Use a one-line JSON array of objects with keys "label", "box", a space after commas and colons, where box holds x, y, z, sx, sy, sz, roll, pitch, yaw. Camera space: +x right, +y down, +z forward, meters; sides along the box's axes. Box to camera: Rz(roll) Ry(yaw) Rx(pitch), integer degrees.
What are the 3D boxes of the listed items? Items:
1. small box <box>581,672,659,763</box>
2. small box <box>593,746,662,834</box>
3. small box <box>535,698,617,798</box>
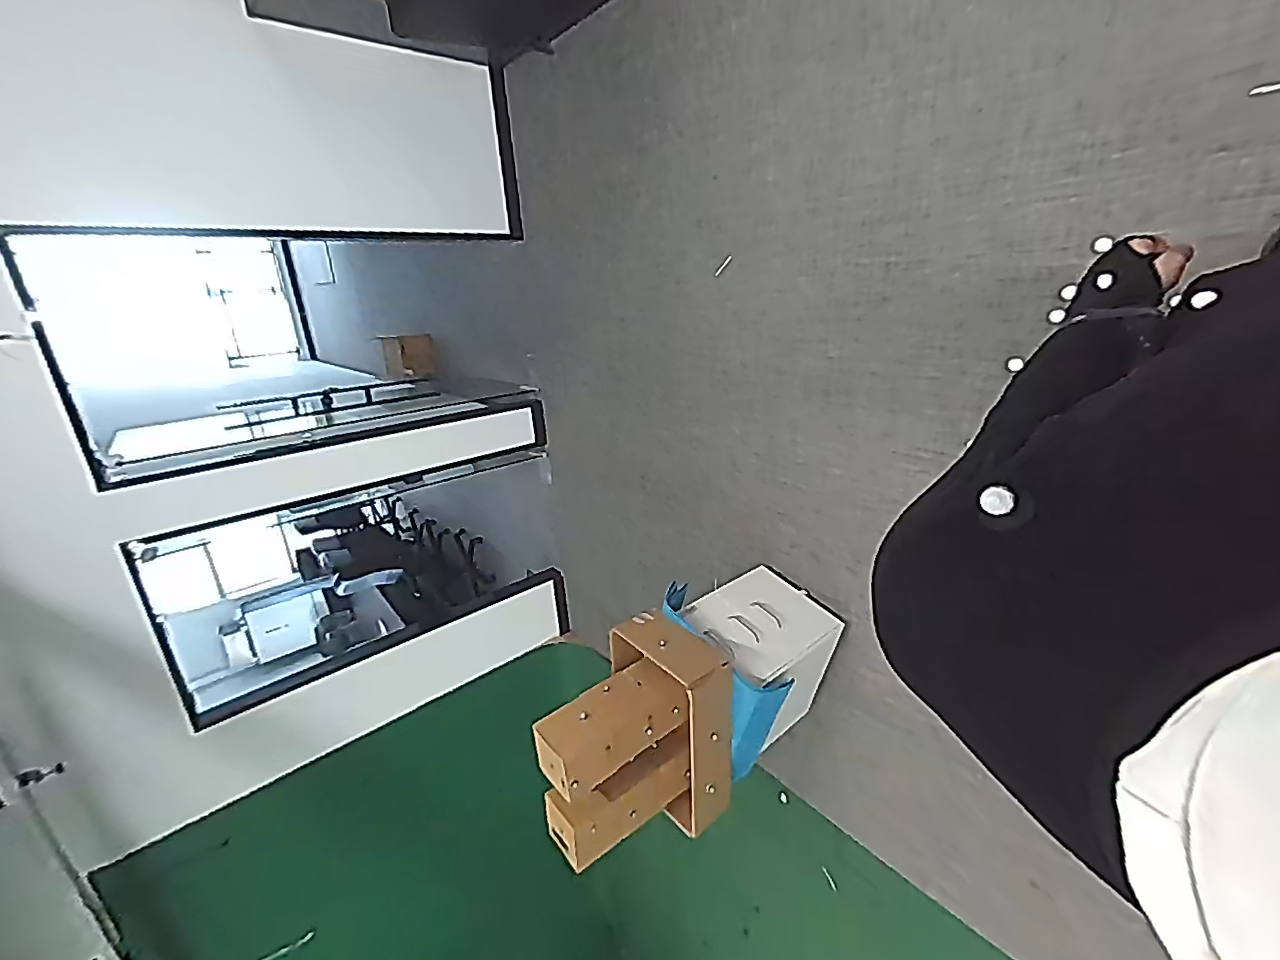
[{"label": "small box", "box": [-0.061, 0.727, 1.681, 0.179, 0.176, 0.168, 20, 121, 49]}, {"label": "small box", "box": [-0.041, 0.989, 1.765, 0.168, 0.176, 0.179, 19, 118, 48]}, {"label": "small box", "box": [-0.187, 0.775, 1.589, 0.179, 0.176, 0.168, 20, 122, 50]}]
